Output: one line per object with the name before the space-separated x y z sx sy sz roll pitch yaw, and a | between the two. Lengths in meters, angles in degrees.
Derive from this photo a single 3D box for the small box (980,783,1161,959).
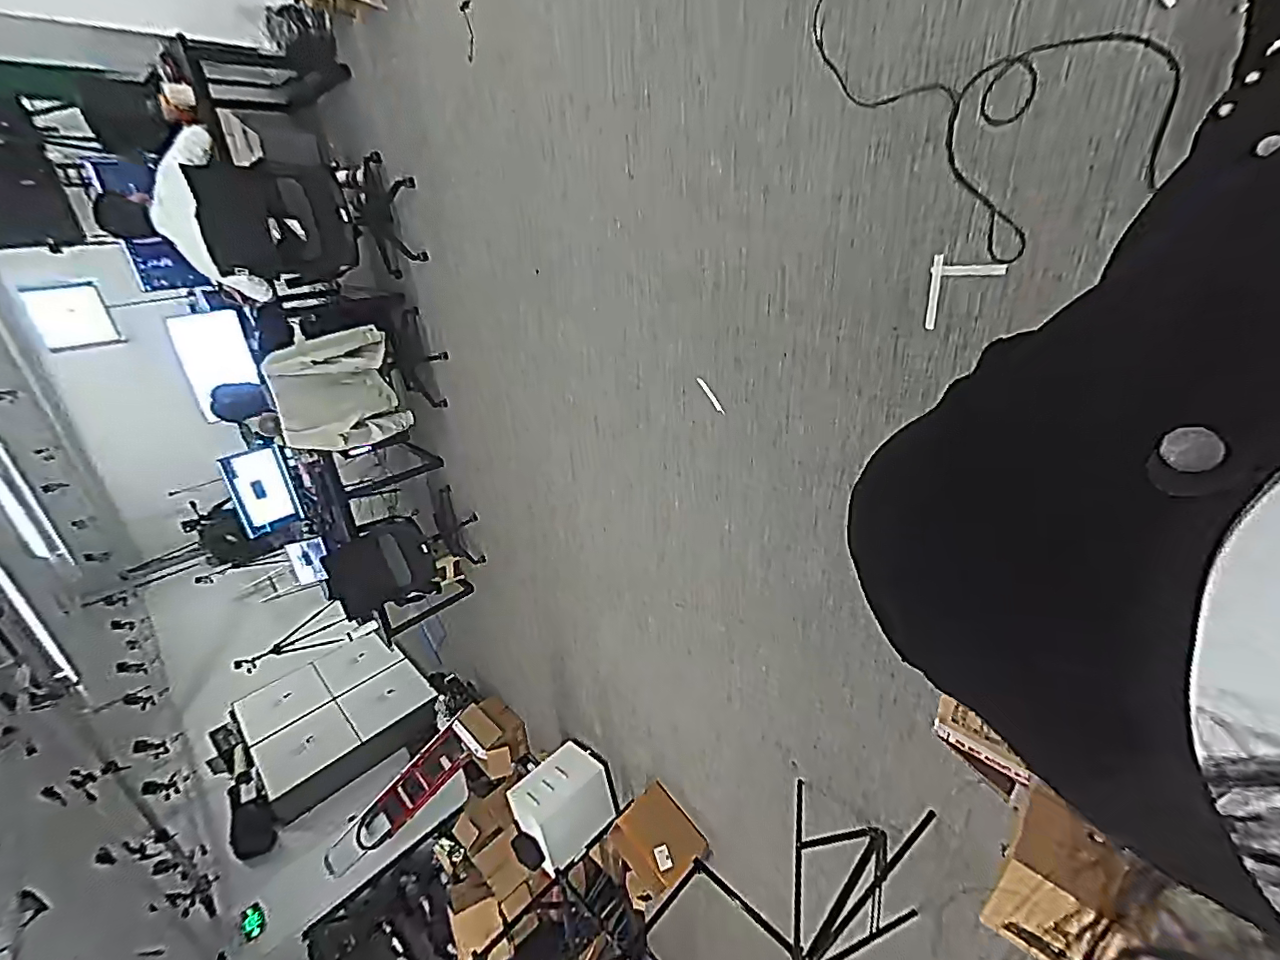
small box | 0.657 0.619 0.828 0.168 0.176 0.179 23 125 37
